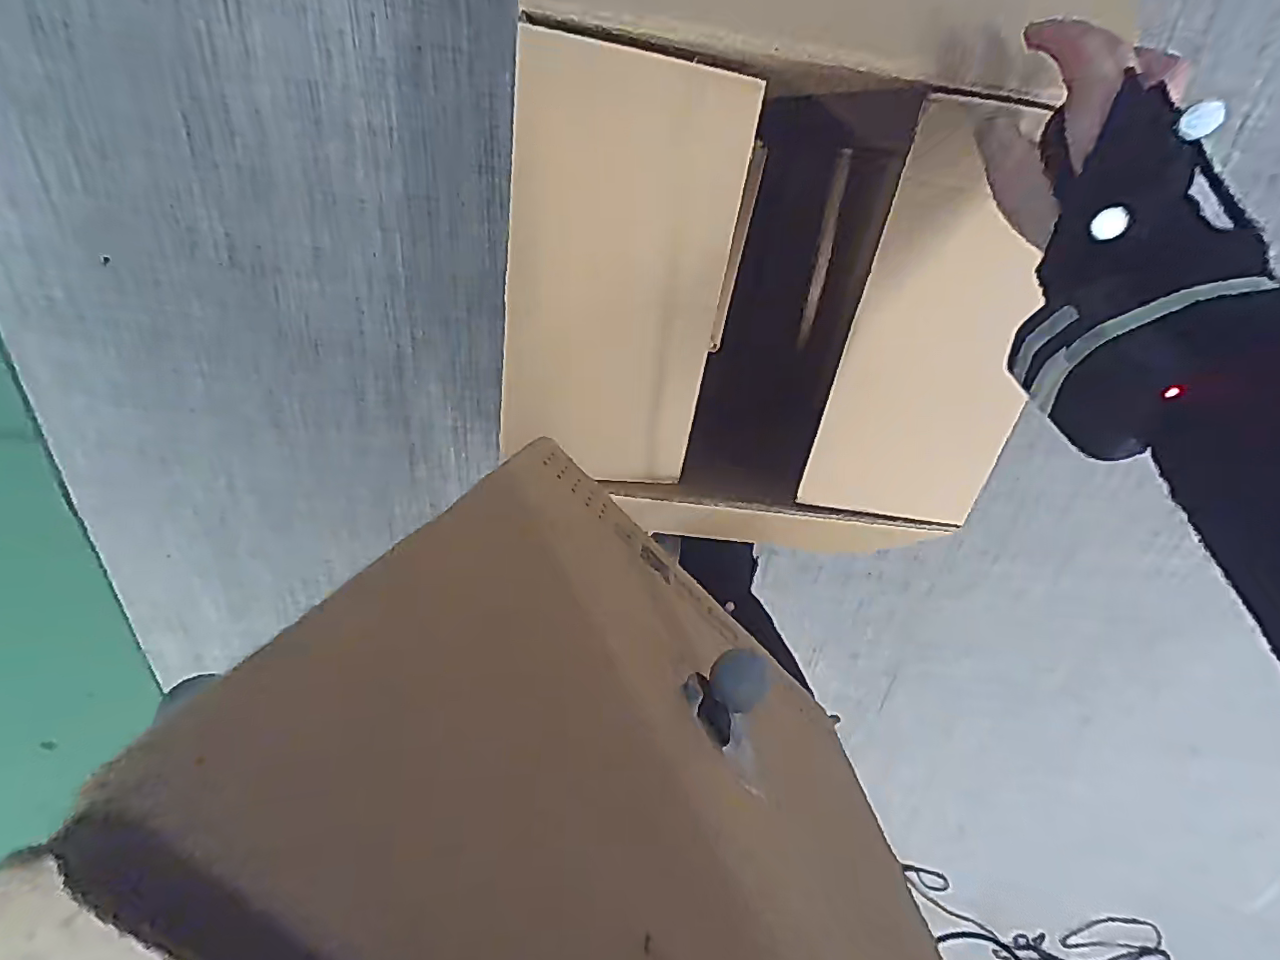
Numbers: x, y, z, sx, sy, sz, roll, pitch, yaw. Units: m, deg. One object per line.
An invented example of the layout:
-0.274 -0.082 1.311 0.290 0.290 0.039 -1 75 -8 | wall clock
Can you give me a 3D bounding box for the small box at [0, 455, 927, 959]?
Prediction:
-0.044 0.115 0.147 0.168 0.176 0.179 44 101 -9 | small box
